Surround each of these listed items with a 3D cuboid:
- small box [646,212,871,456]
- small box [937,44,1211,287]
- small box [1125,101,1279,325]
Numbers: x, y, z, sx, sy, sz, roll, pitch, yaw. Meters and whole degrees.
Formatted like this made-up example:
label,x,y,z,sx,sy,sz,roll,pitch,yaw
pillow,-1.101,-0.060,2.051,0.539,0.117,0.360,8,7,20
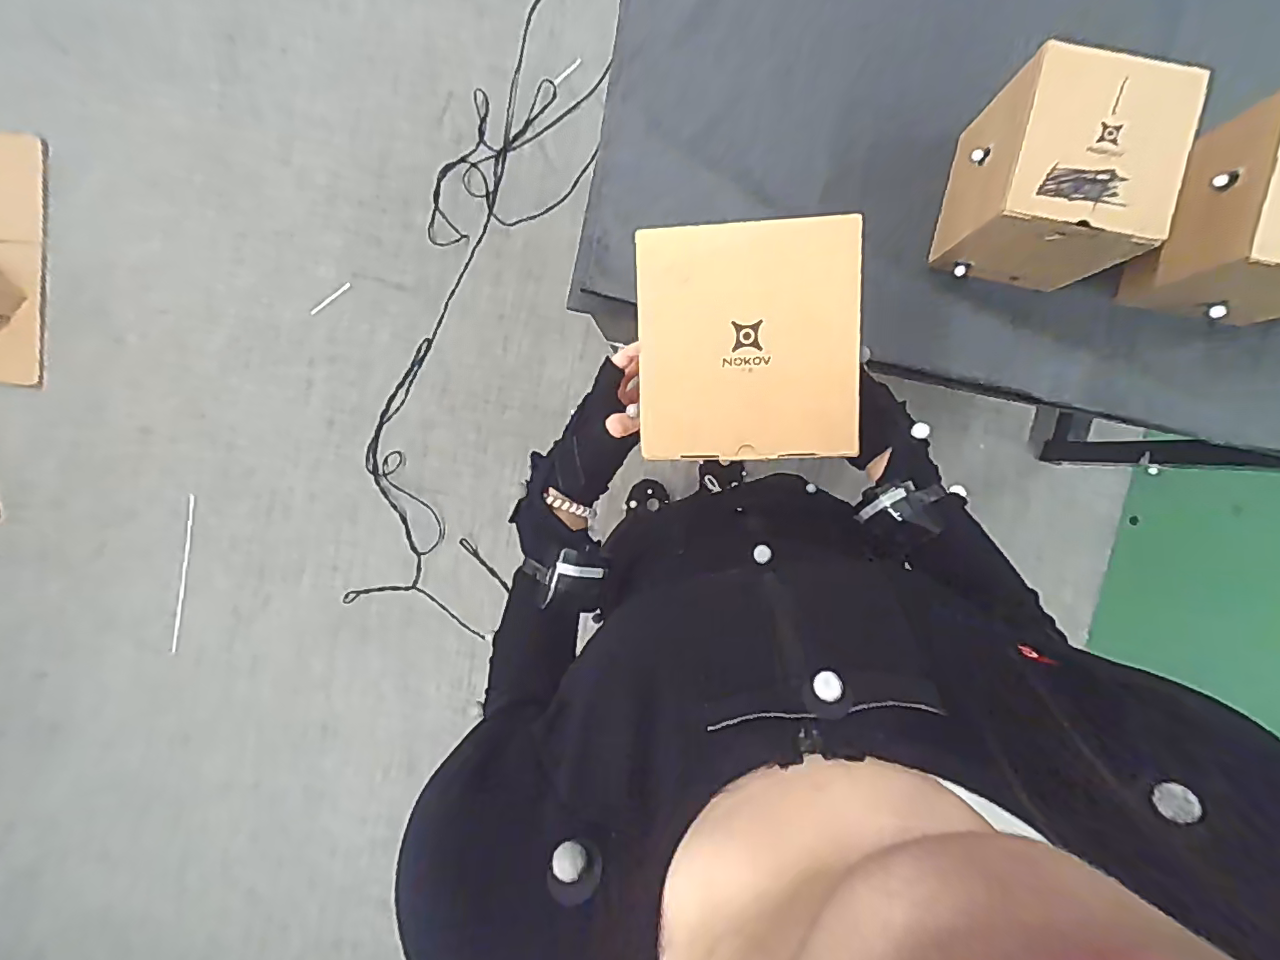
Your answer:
label,x,y,z,sx,sy,sz,roll,pitch,yaw
small box,0.093,-0.113,0.480,0.168,0.176,0.179,-1,96,6
small box,0.475,-0.342,0.625,0.168,0.176,0.179,12,93,3
small box,0.711,-0.295,0.613,0.168,0.176,0.179,11,93,3
